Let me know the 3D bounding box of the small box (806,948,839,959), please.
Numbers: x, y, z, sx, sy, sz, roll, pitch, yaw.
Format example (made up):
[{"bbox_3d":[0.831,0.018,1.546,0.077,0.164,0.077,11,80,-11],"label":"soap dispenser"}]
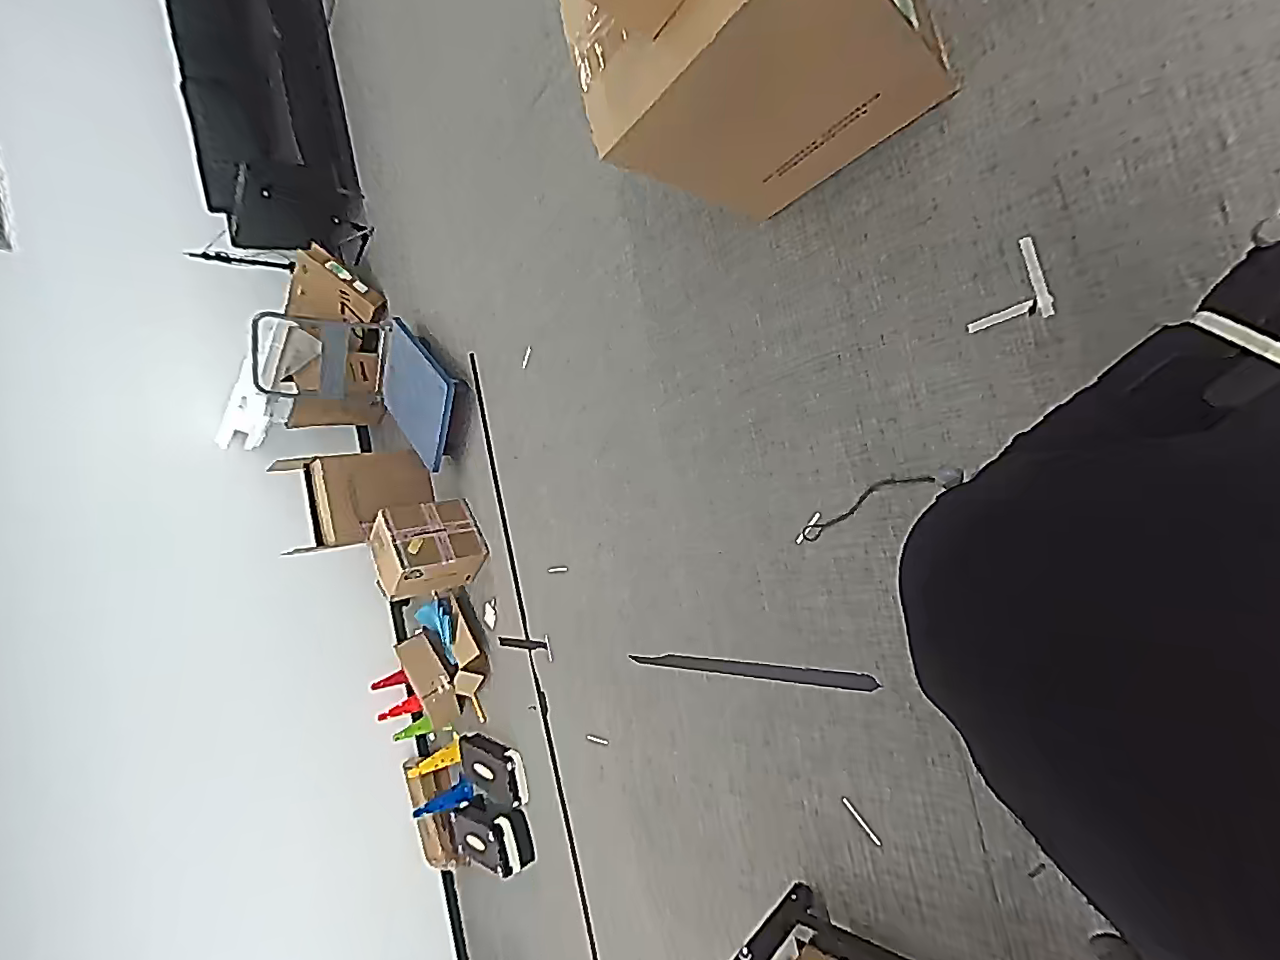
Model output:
[{"bbox_3d":[0.524,1.442,1.470,0.168,0.176,0.179,-14,87,47],"label":"small box"}]
